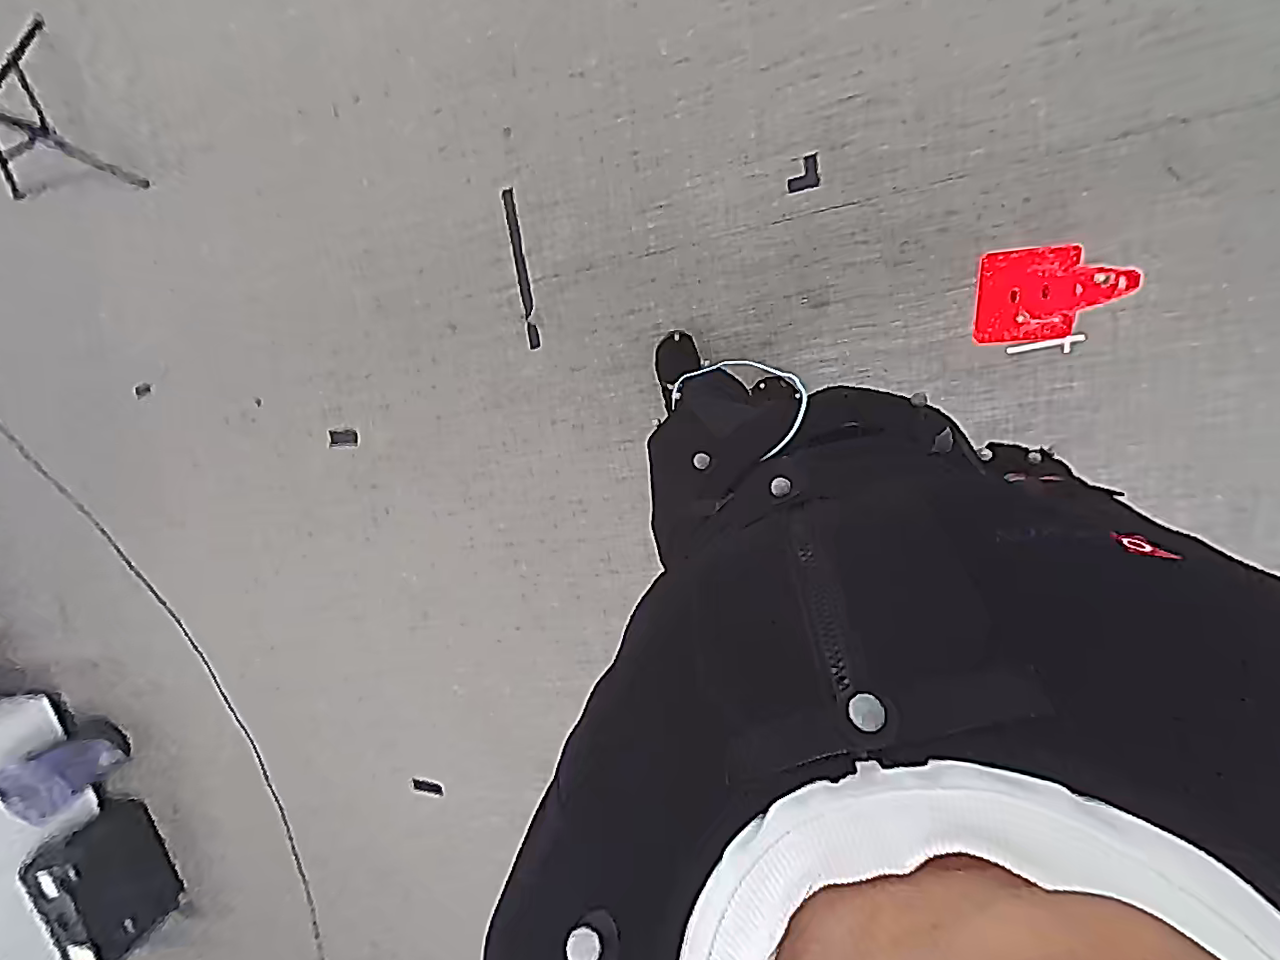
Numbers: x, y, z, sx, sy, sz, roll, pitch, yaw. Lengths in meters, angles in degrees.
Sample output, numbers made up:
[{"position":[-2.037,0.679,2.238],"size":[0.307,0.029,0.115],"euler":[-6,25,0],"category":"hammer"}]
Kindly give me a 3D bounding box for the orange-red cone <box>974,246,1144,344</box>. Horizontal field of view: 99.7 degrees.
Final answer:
[{"position":[0.817,-0.365,1.029],"size":[0.198,0.360,0.199],"euler":[0,103,12],"category":"orange-red cone"}]
